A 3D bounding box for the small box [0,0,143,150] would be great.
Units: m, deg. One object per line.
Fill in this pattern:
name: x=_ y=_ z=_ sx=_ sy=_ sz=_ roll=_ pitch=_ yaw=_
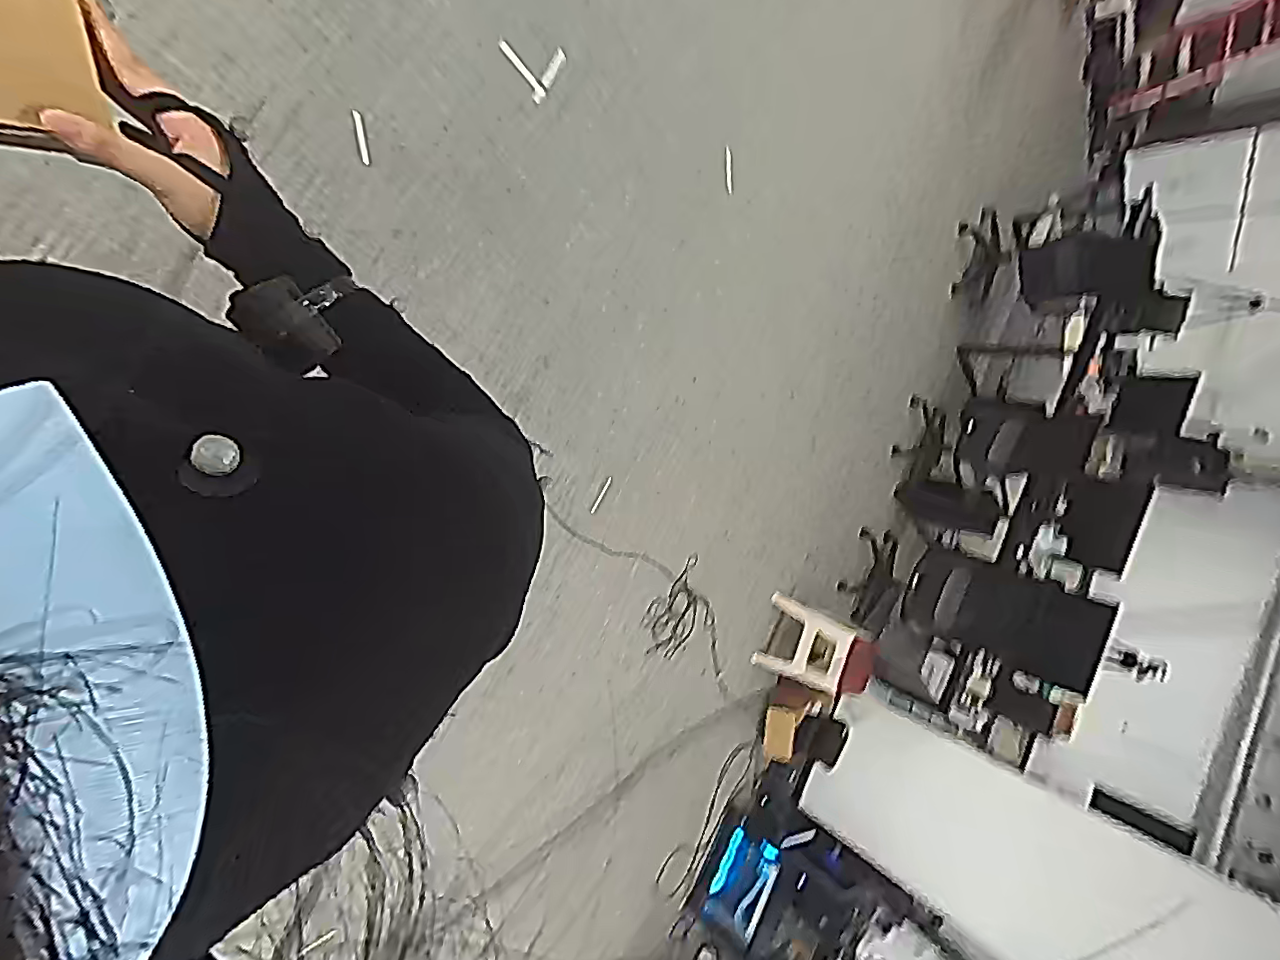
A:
small box: x=-0.417 y=-0.306 z=0.307 sx=0.168 sy=0.176 sz=0.179 roll=-14 pitch=121 yaw=-42
